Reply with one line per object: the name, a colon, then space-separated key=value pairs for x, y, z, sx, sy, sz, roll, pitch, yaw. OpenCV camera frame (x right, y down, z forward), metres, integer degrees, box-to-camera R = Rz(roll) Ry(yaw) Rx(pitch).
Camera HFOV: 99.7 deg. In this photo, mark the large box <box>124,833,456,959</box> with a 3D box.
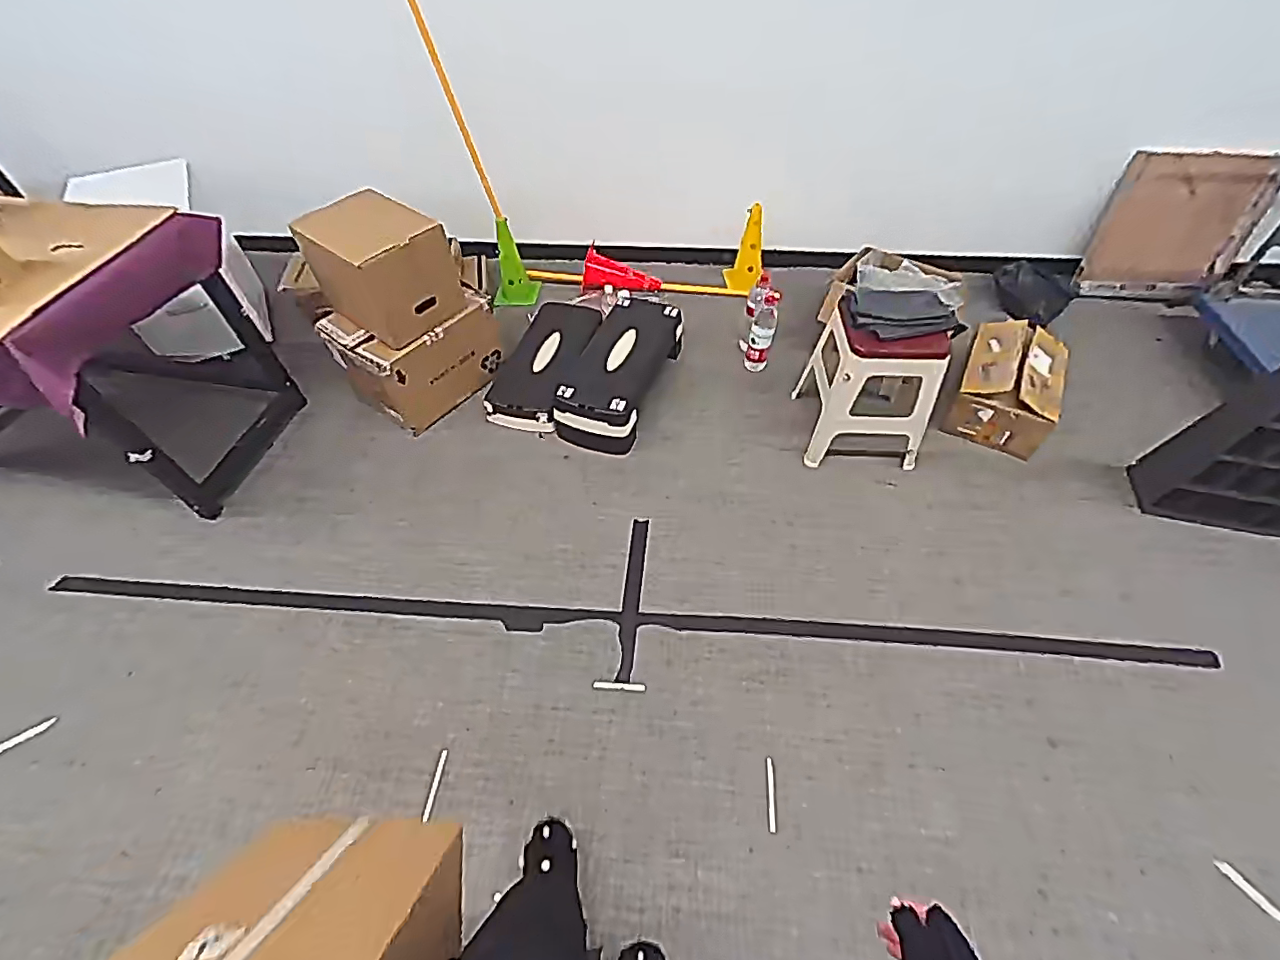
large box: x=-0.455 y=0.718 z=0.679 sx=0.320 sy=0.408 sz=0.320 roll=-1 pitch=85 yaw=2
